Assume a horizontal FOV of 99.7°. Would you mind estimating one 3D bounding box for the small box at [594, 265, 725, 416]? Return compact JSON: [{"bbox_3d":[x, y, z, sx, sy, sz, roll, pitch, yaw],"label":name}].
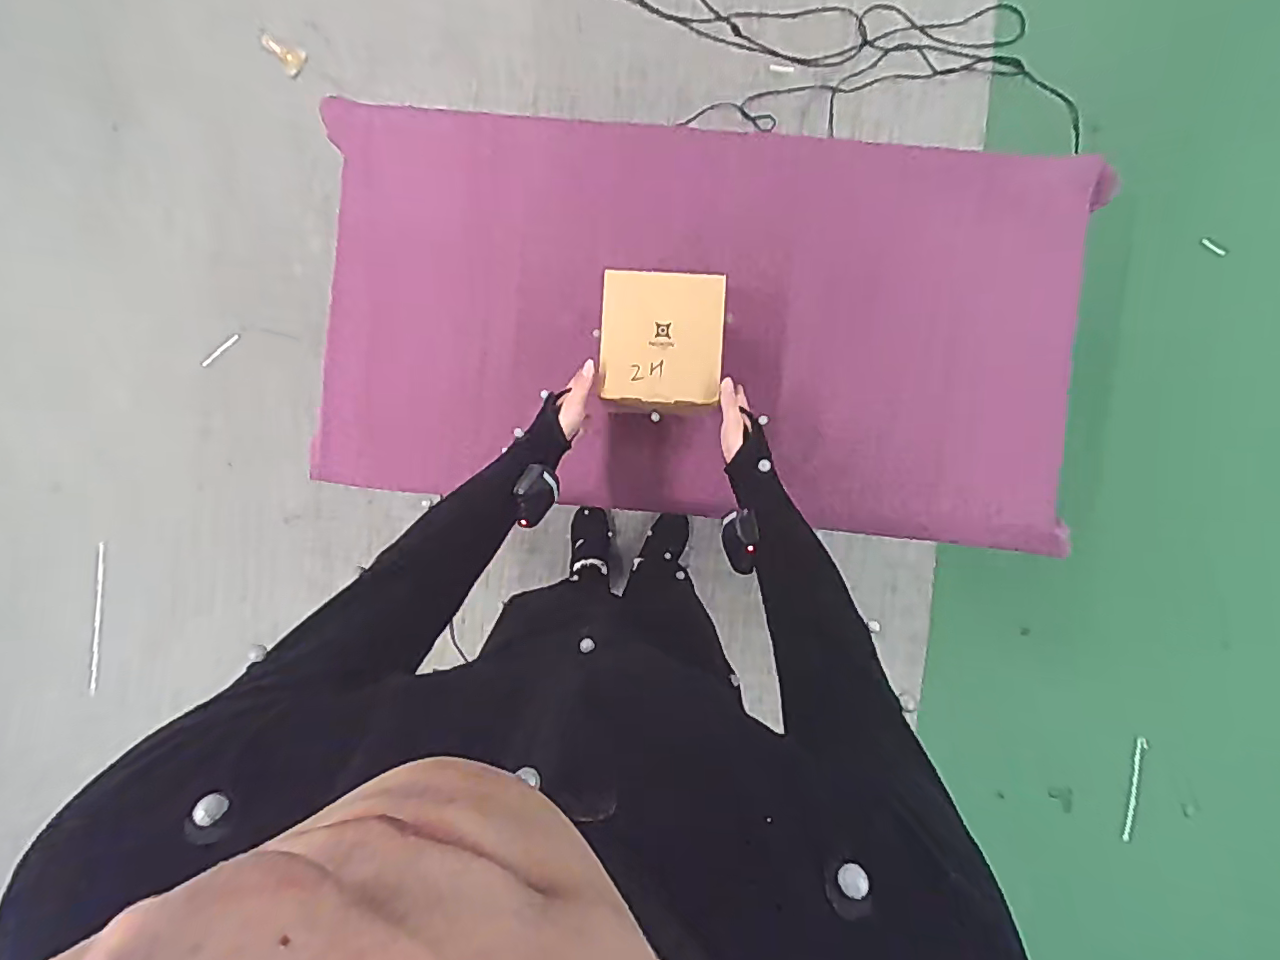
[{"bbox_3d":[0.026,-0.195,0.797,0.168,0.176,0.179,4,91,1],"label":"small box"}]
